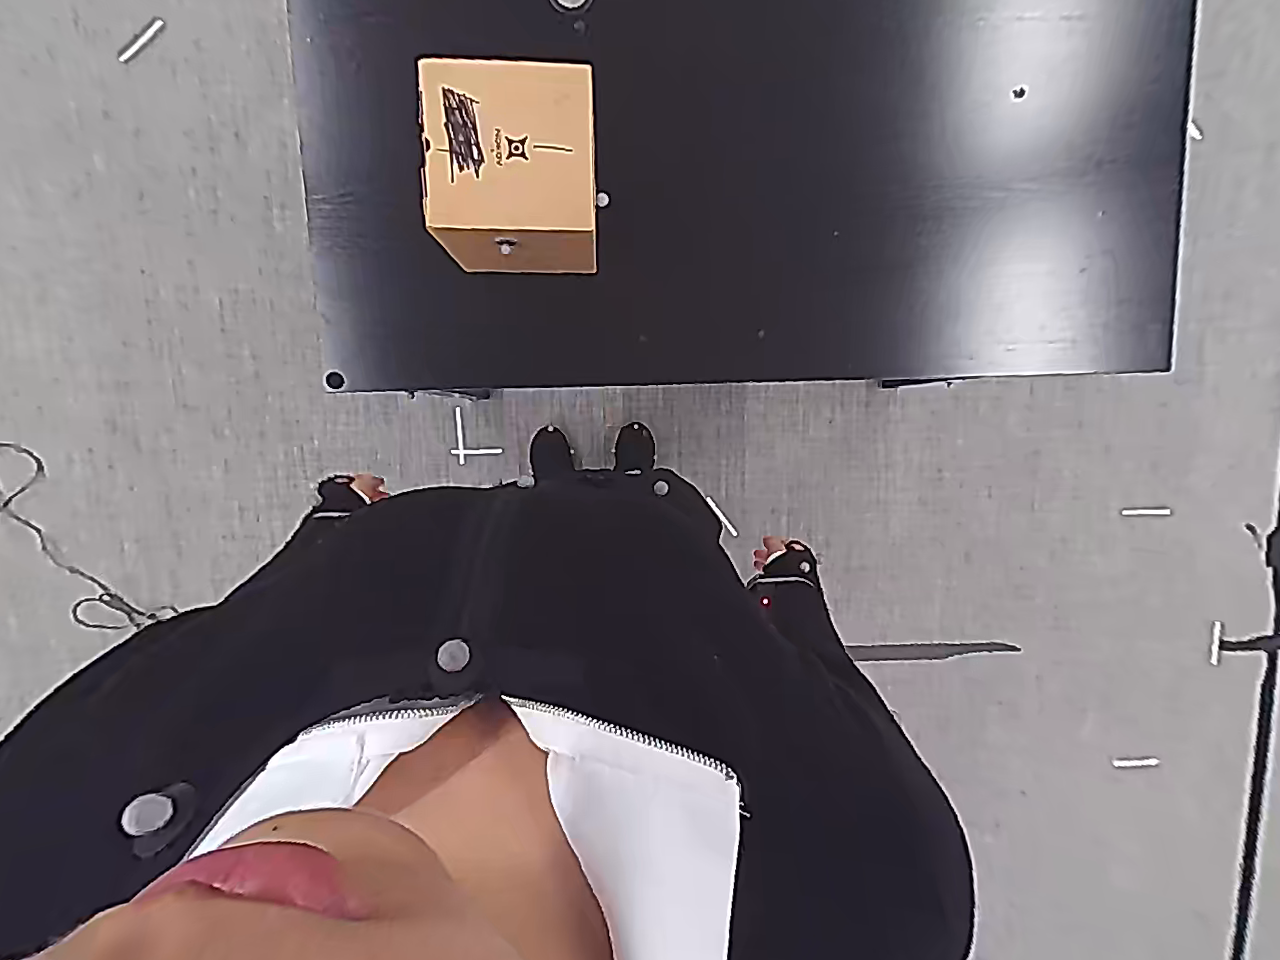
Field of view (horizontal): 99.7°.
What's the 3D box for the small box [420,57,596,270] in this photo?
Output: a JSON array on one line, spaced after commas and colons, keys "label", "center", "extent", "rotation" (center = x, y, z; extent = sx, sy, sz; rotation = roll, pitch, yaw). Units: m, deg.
[{"label": "small box", "center": [-0.142, -0.355, 0.639], "extent": [0.179, 0.176, 0.168], "rotation": [-1, 96, -4]}]
